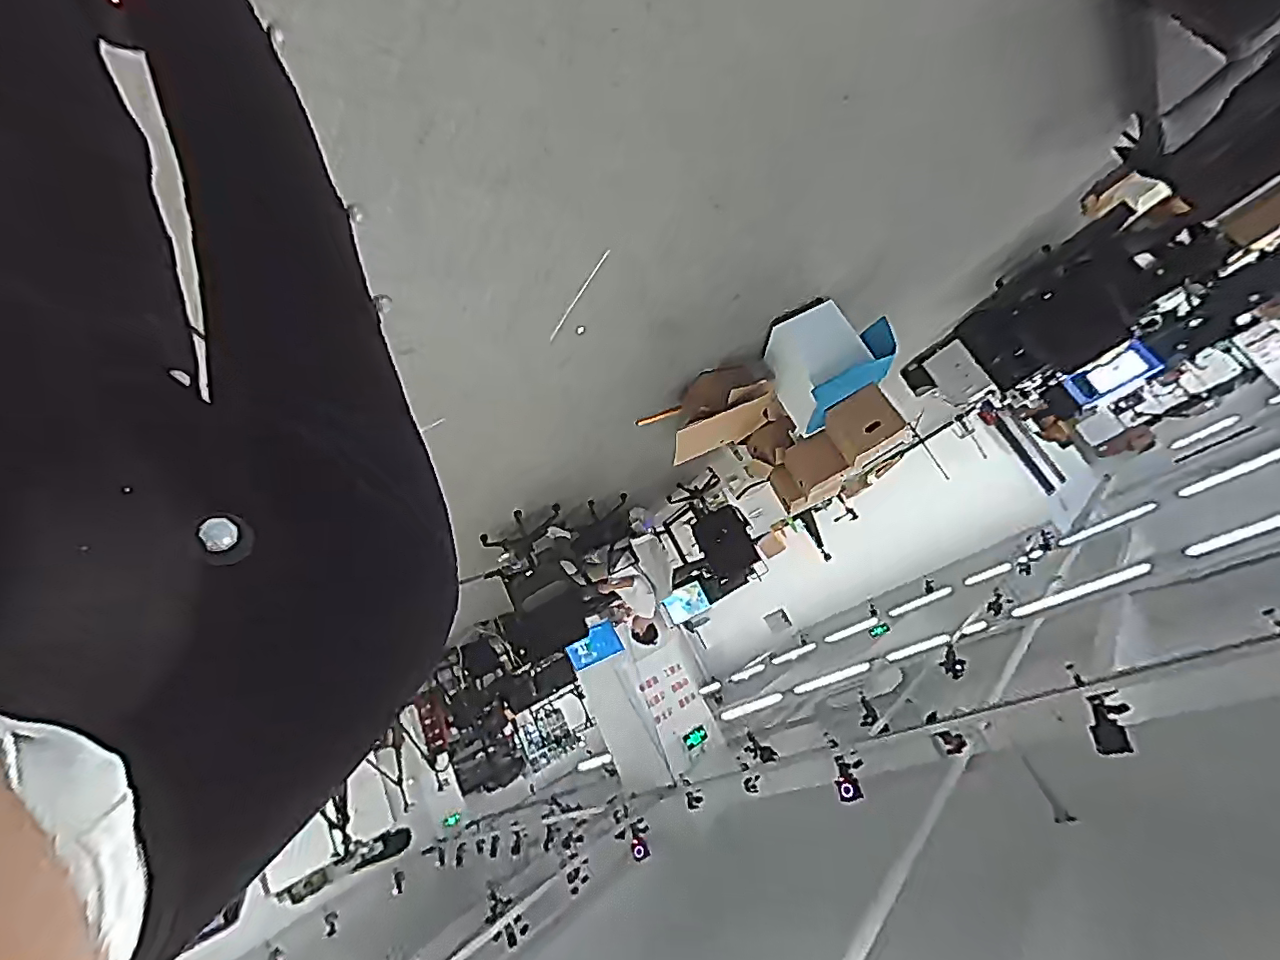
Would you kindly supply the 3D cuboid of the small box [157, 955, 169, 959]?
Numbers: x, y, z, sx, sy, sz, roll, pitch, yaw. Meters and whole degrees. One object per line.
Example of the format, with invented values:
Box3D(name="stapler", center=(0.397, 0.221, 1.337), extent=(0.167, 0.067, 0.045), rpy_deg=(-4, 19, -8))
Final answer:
Box3D(name="small box", center=(-1.316, 1.374, 1.385), extent=(0.179, 0.176, 0.168), rpy_deg=(-10, 158, -42))
